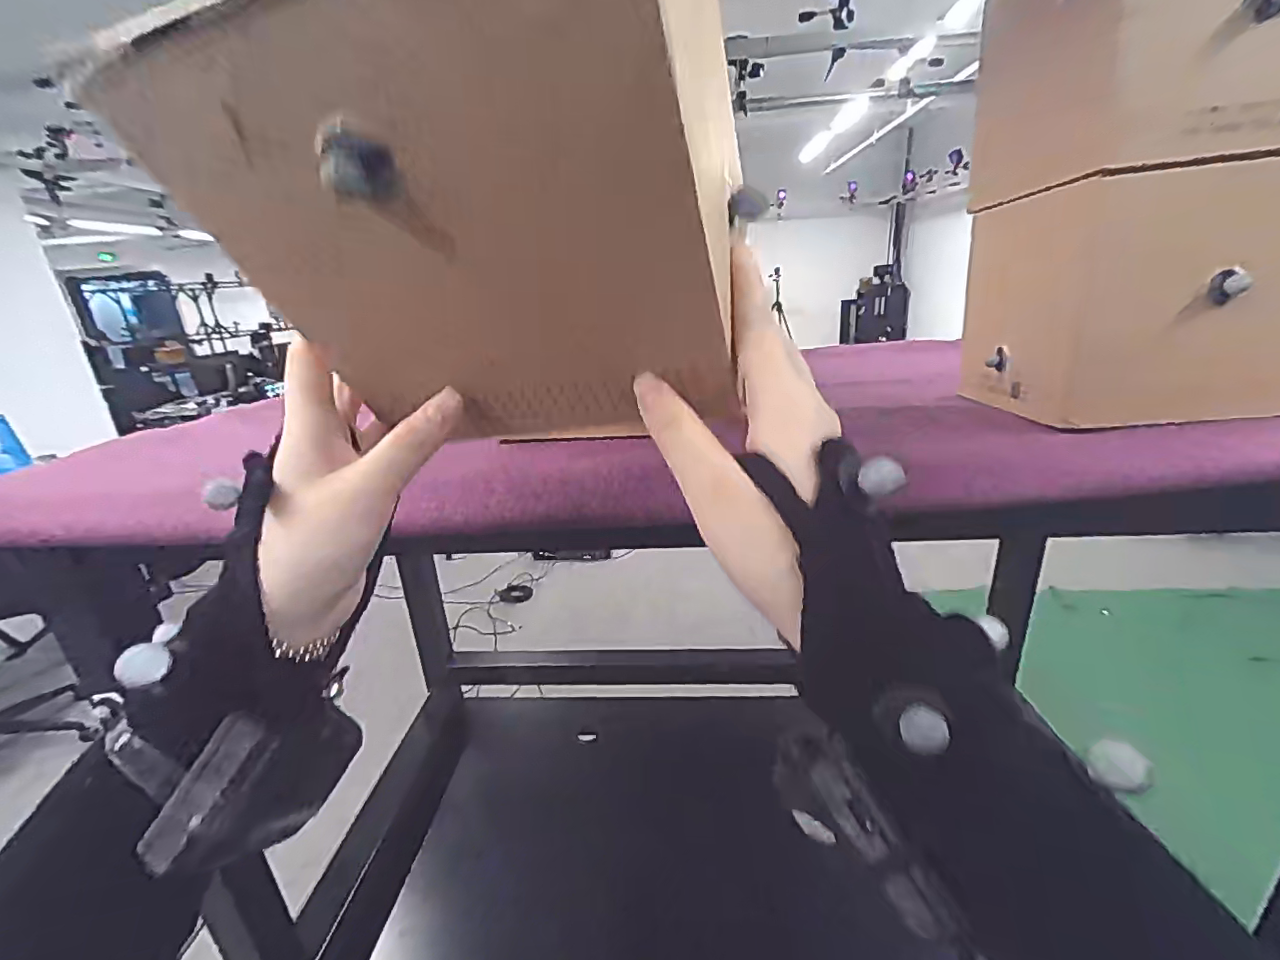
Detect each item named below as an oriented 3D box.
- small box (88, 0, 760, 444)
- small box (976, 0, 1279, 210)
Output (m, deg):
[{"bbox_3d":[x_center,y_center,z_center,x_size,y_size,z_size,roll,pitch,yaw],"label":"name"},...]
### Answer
[{"bbox_3d":[-0.047,-0.130,0.237,0.179,0.176,0.168,-3,54,17],"label":"small box"},{"bbox_3d":[0.365,-0.301,0.377,0.168,0.176,0.179,-3,18,7],"label":"small box"}]
